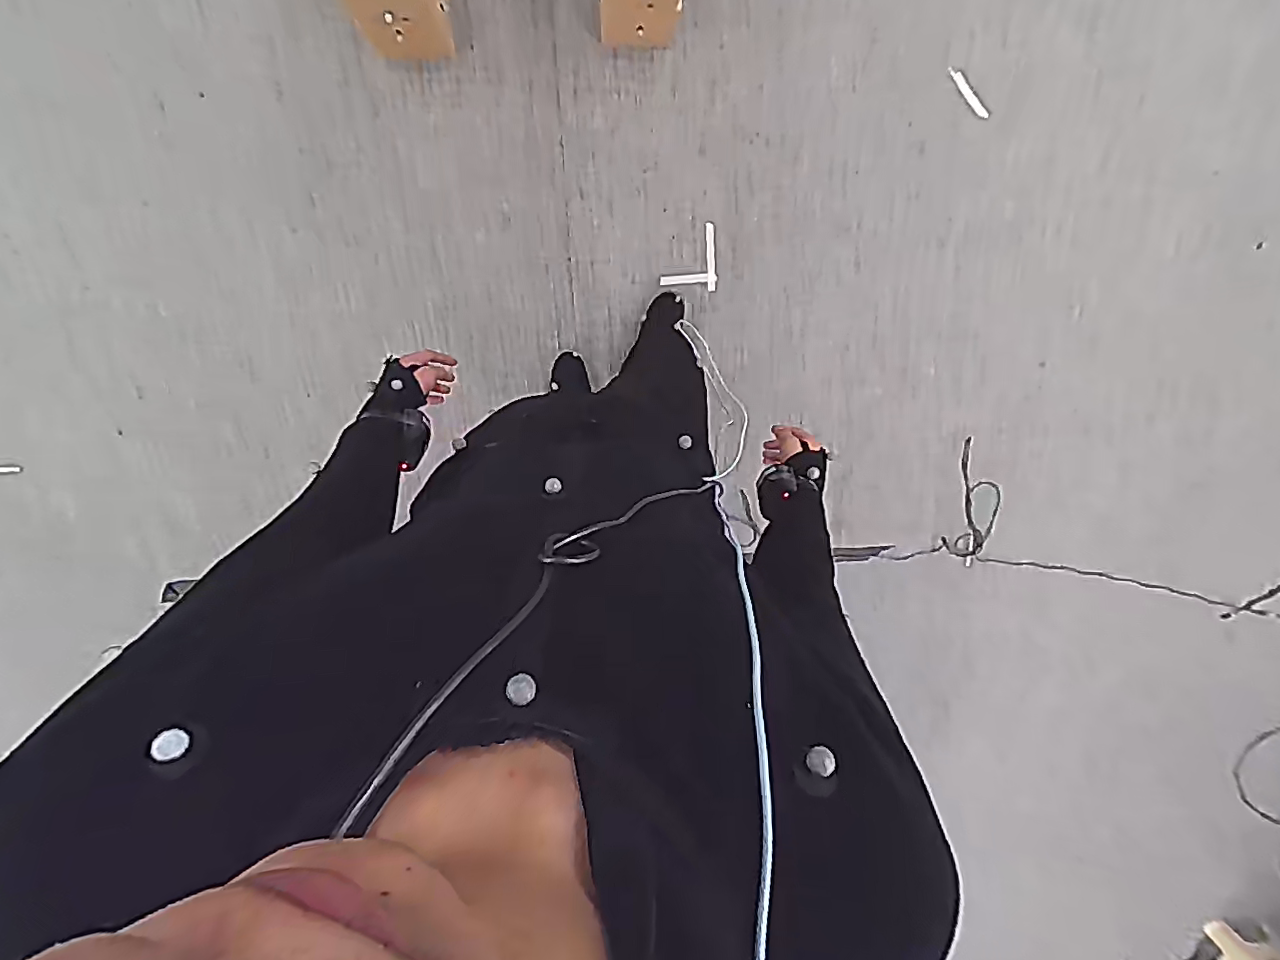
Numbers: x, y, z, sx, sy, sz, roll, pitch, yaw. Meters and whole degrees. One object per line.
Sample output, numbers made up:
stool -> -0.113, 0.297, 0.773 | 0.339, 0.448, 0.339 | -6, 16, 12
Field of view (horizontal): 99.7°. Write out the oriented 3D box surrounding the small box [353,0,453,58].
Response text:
small box -> -0.529, -1.076, 1.208 | 0.179, 0.176, 0.168 | -4, 107, -3

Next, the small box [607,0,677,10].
small box -> 0.004, -1.083, 1.077 | 0.168, 0.176, 0.179 | -1, 107, -5

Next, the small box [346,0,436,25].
small box -> -0.511, -1.032, 1.050 | 0.168, 0.176, 0.179 | -4, 108, -3
